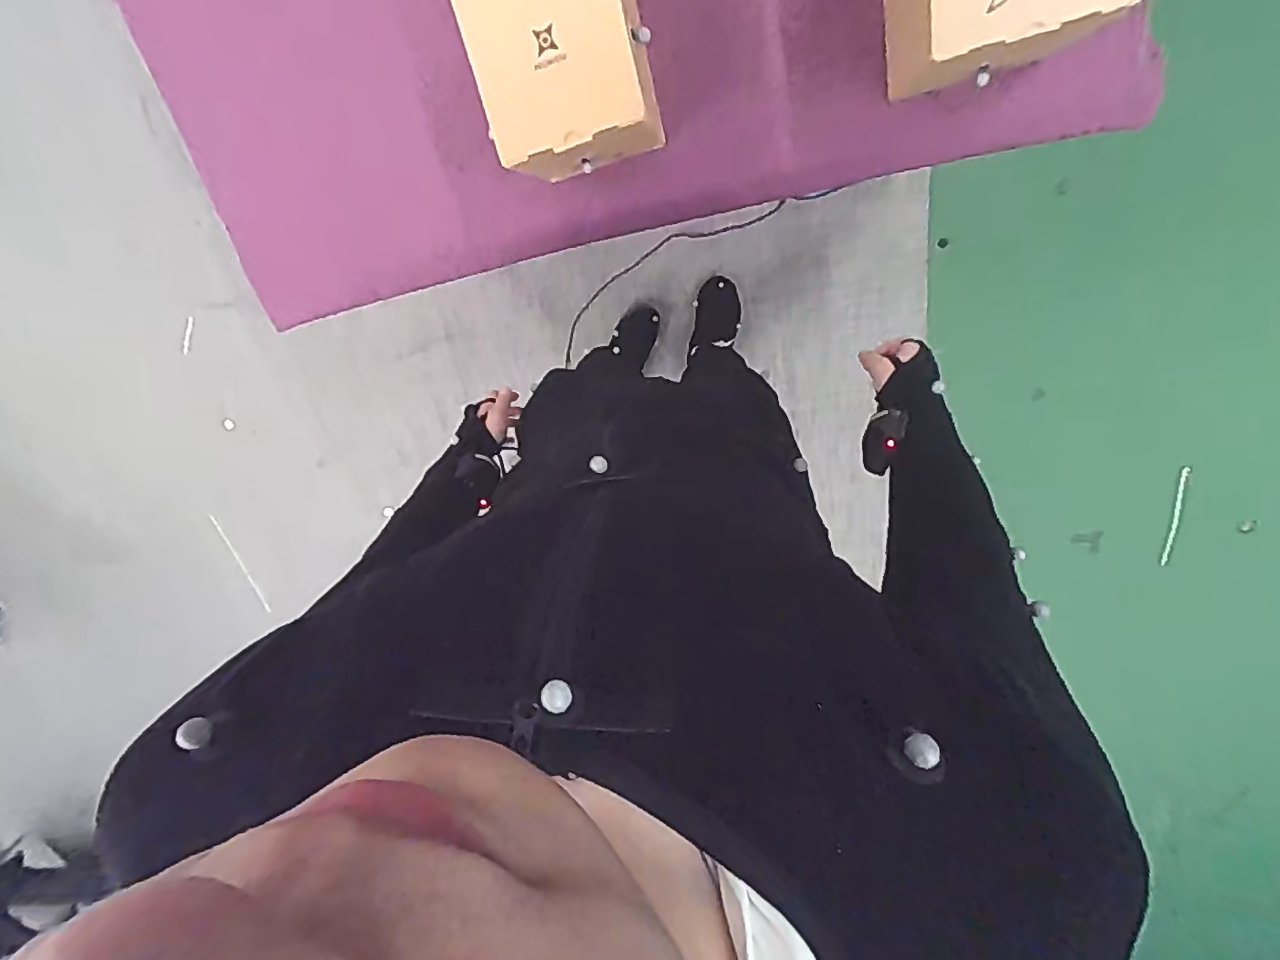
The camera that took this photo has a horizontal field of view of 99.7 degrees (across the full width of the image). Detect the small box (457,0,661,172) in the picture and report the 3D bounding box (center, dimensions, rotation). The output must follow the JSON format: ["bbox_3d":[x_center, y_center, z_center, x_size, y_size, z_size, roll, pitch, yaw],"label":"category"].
[{"bbox_3d":[-0.079,-0.470,0.608,0.168,0.176,0.179,-10,113,14],"label":"small box"}]

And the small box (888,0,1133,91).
[{"bbox_3d":[0.340,-0.509,0.515,0.168,0.176,0.179,-7,114,14],"label":"small box"}]

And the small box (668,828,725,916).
[{"bbox_3d":[0.186,1.262,1.748,0.168,0.176,0.179,-3,116,11],"label":"small box"}]
